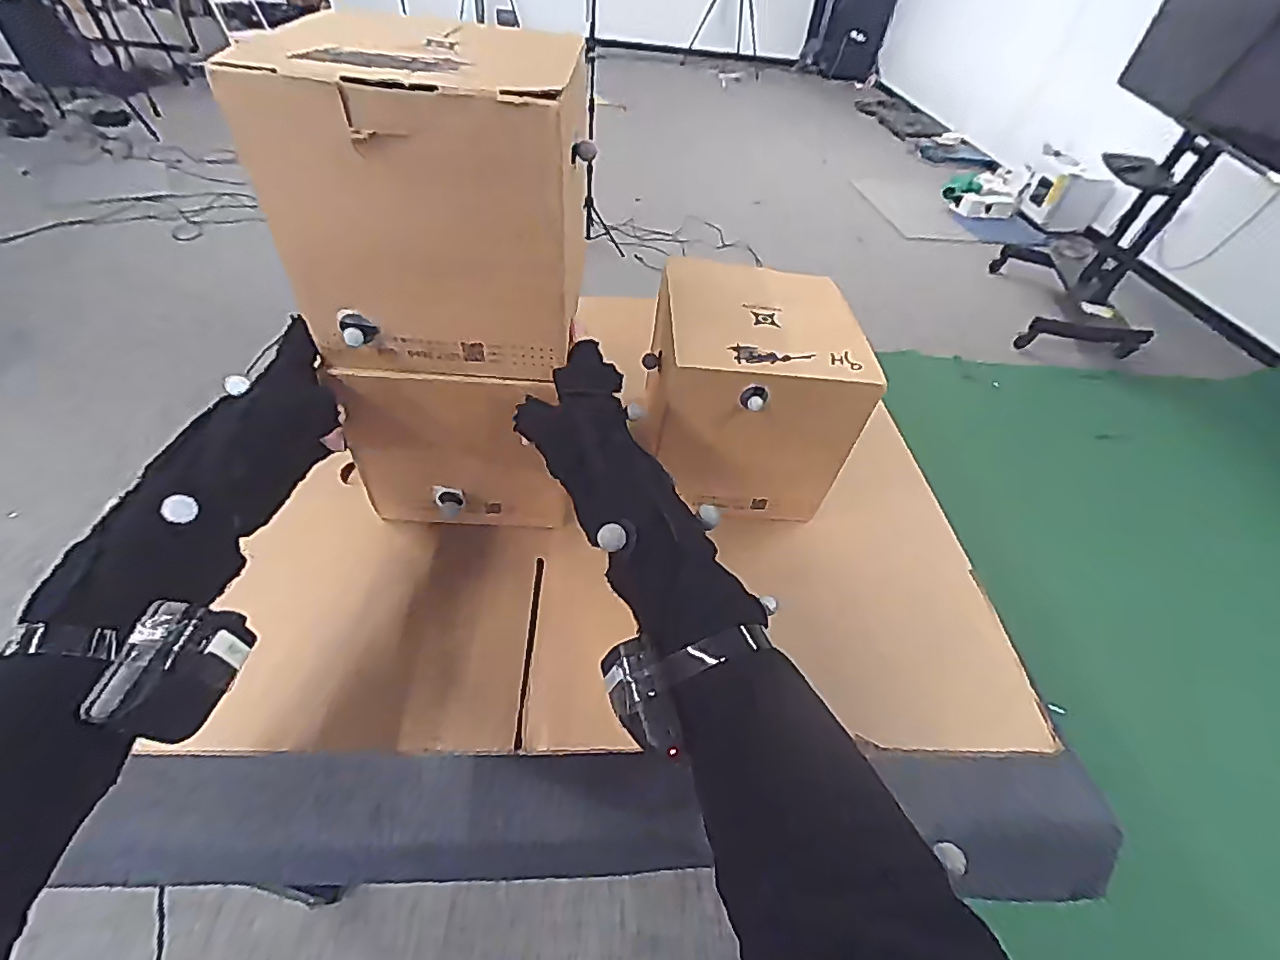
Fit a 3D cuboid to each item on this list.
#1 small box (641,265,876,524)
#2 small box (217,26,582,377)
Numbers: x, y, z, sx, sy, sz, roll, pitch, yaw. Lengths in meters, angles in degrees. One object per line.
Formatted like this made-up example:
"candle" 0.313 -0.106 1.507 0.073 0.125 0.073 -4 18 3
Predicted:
"small box" 0.091 -0.082 0.524 0.168 0.176 0.179 5 46 -5
"small box" -0.129 -0.190 0.378 0.168 0.176 0.179 4 46 -4
